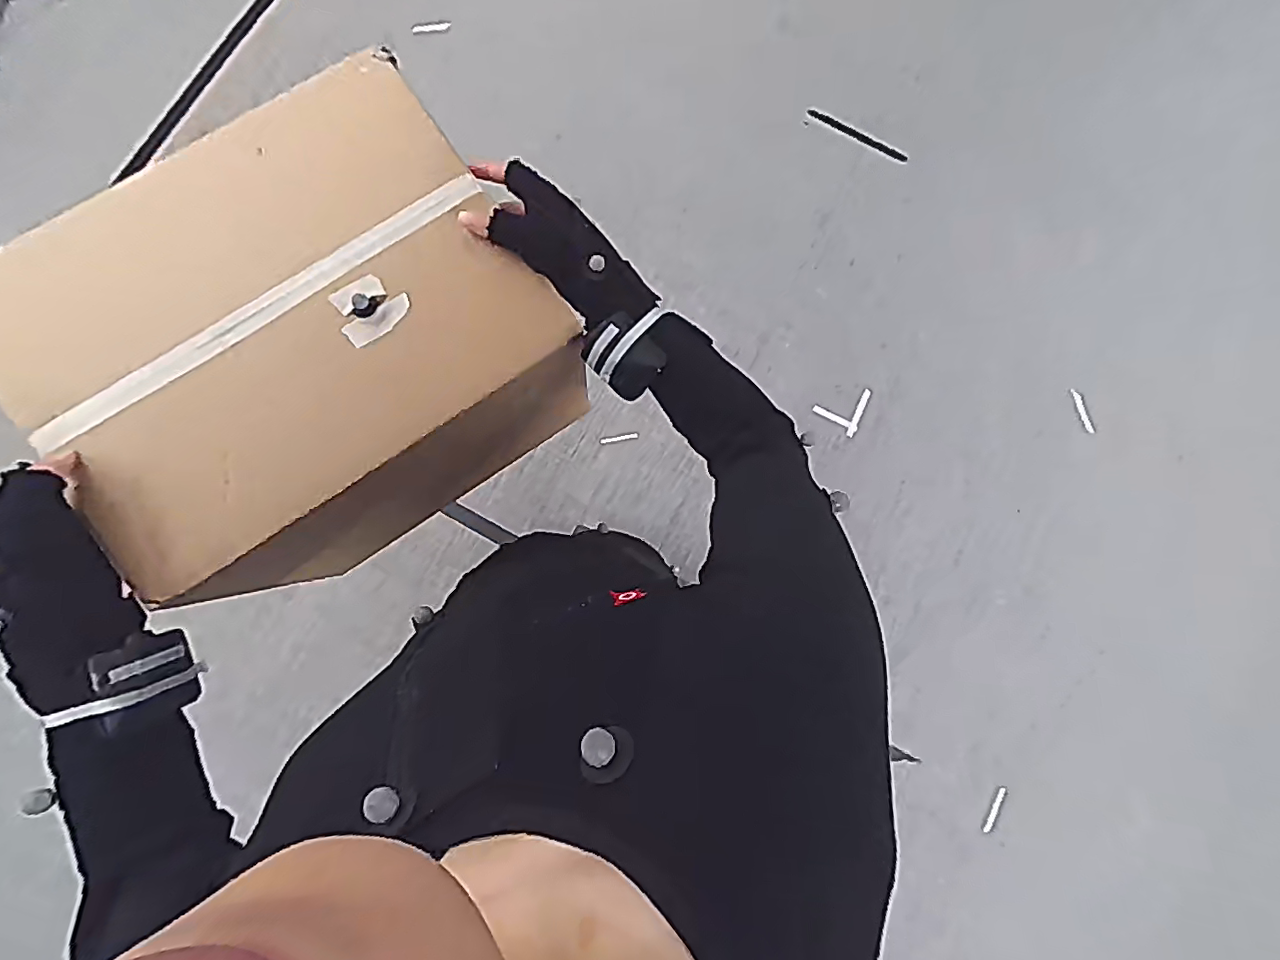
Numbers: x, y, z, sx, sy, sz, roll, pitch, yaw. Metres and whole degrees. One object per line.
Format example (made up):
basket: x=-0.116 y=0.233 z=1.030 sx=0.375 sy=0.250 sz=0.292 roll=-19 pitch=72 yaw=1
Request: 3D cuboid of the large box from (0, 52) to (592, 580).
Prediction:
large box: x=-0.301 y=-0.137 z=0.606 sx=0.408 sy=0.320 sz=0.320 roll=-34 pitch=88 yaw=-7
